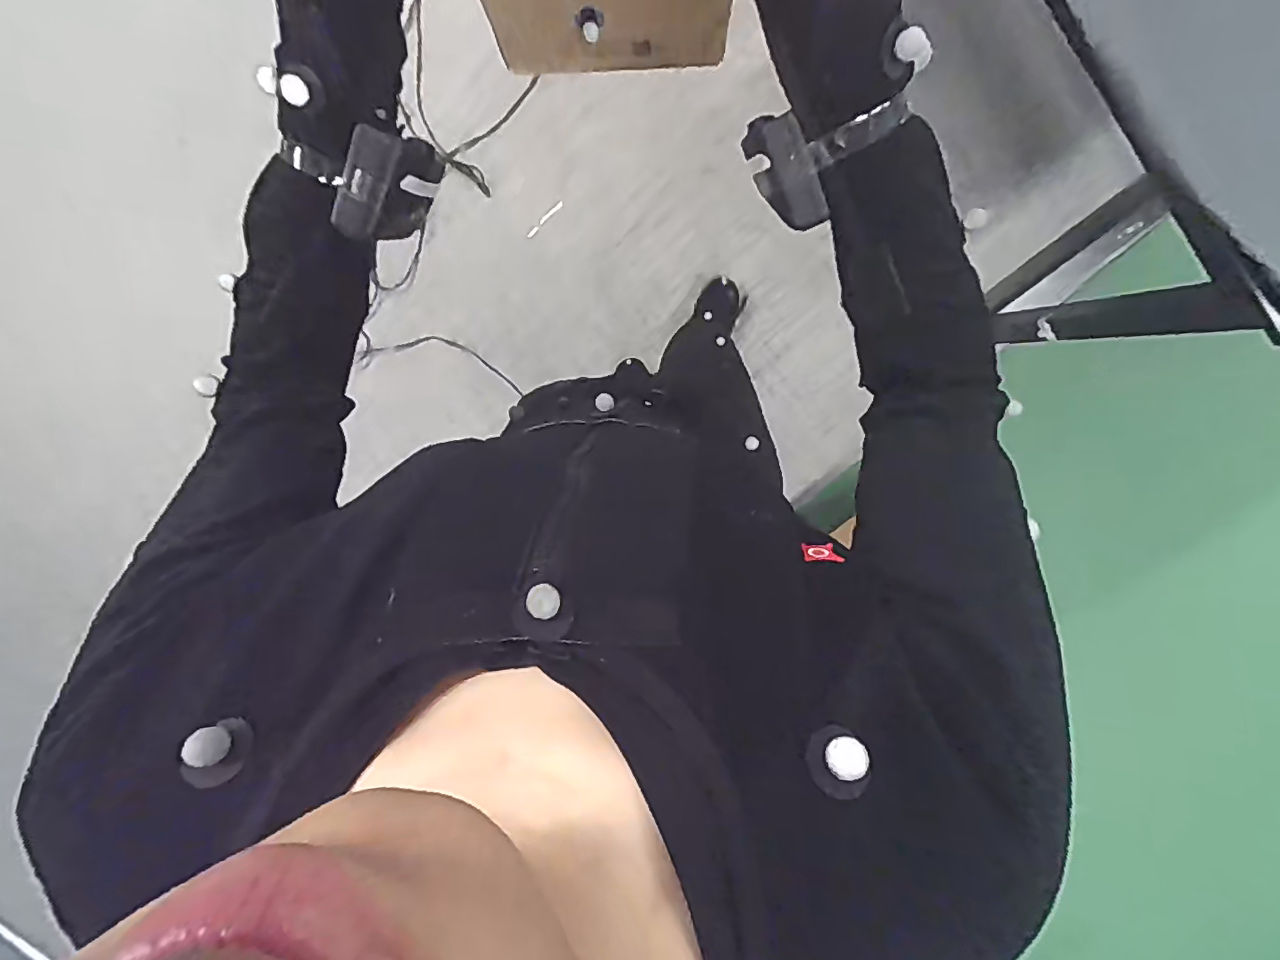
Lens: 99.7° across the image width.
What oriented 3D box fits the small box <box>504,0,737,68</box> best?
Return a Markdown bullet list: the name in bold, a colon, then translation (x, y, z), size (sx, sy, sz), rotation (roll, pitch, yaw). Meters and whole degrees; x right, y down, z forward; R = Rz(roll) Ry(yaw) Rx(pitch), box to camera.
- **small box**: translation (-0.017, -0.401, 0.333), size (0.168, 0.176, 0.179), rotation (-1, 98, 2)
